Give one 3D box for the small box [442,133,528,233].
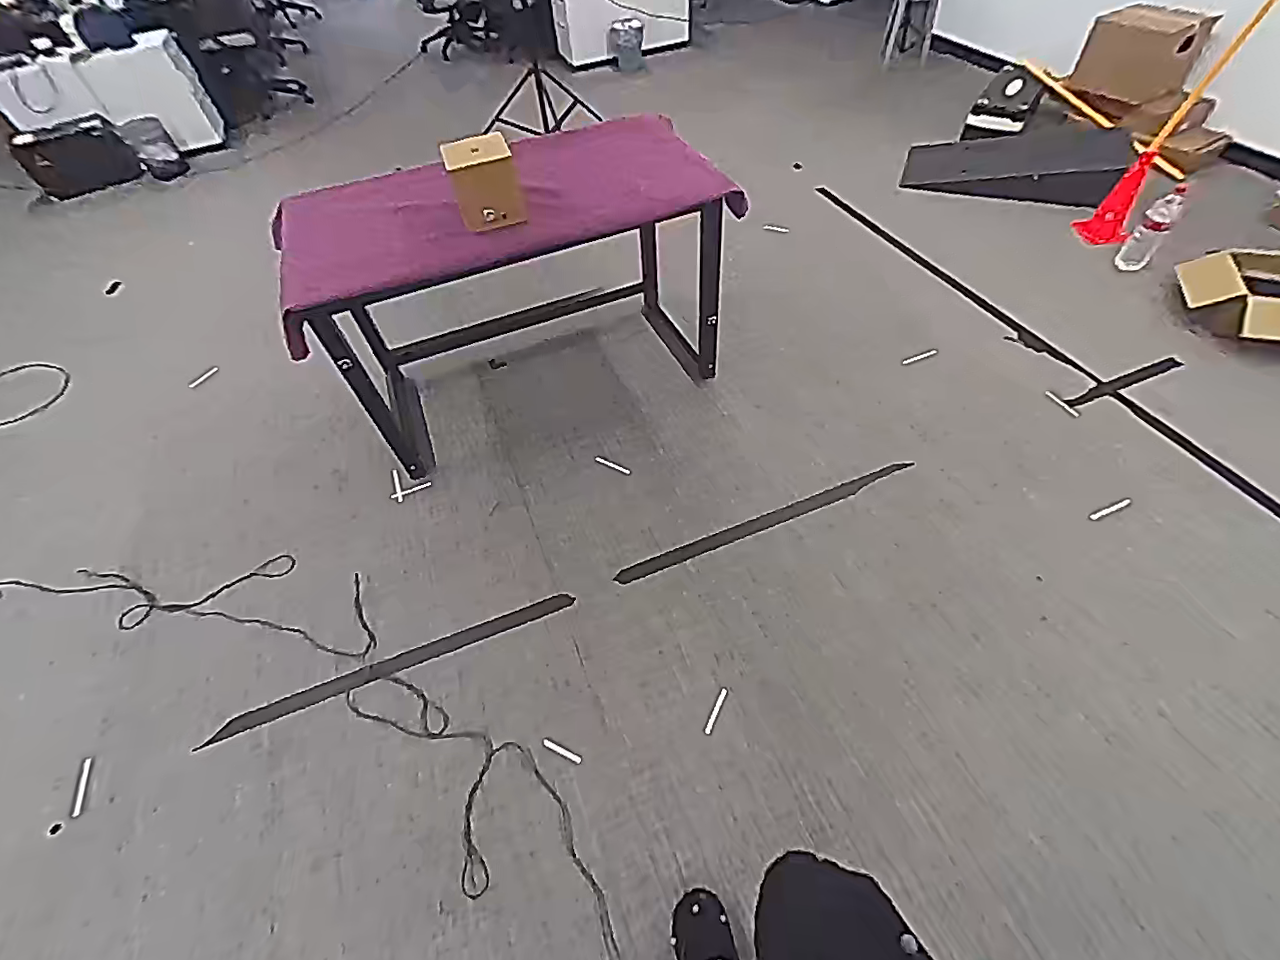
[{"bbox_3d":[-0.410,-0.788,1.439,0.168,0.176,0.179,-19,54,-8],"label":"small box"}]
